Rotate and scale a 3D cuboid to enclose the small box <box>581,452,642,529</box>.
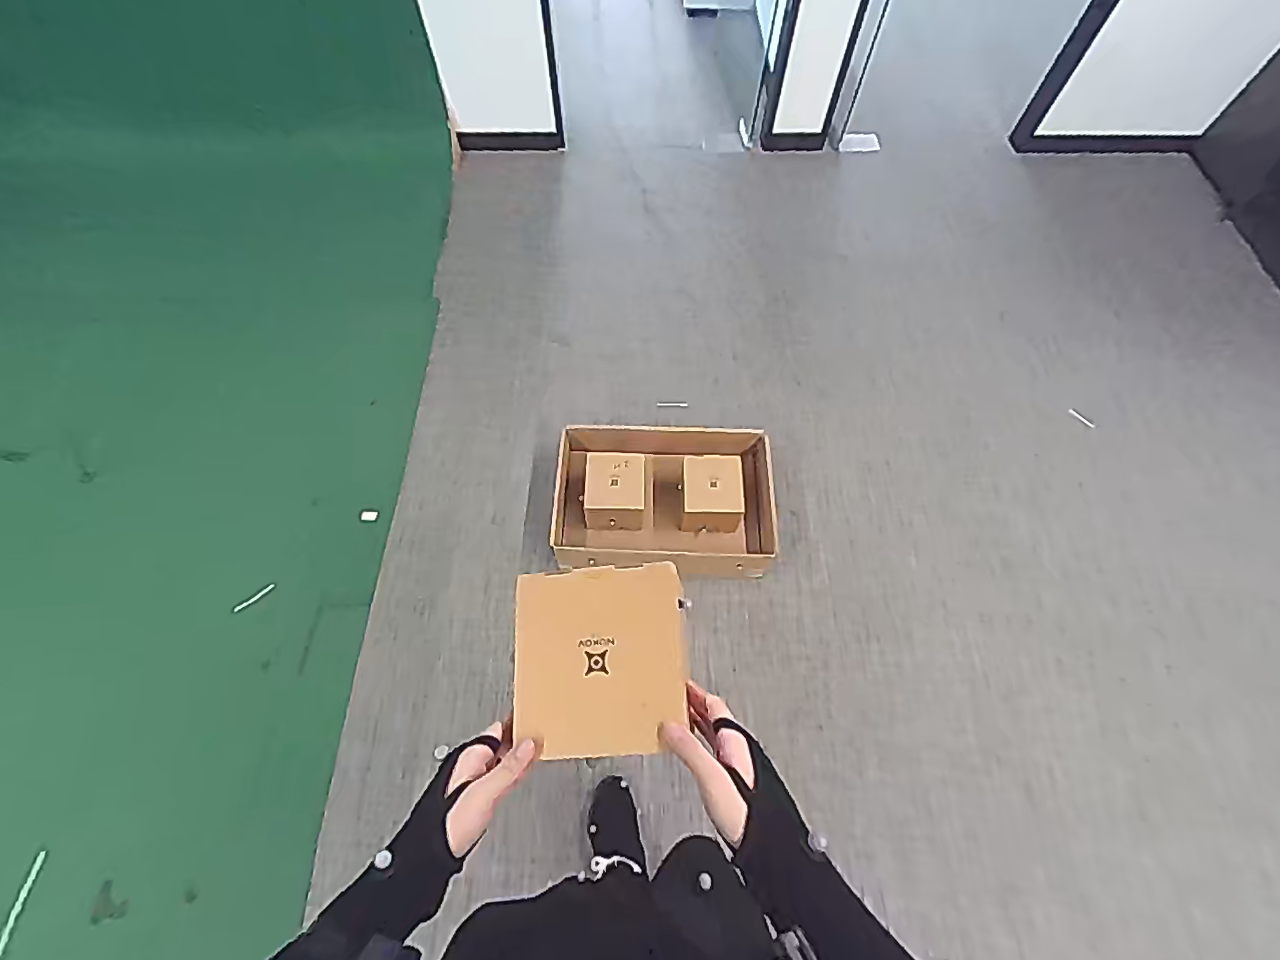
[{"bbox_3d":[-0.079,0.035,1.568,0.168,0.176,0.179,2,63,-1],"label":"small box"}]

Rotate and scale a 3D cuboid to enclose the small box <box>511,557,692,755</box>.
[{"bbox_3d":[-0.034,0.193,0.595,0.168,0.176,0.179,-6,68,5],"label":"small box"}]

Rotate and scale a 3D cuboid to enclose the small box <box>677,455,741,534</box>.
[{"bbox_3d":[0.196,0.043,1.572,0.168,0.176,0.179,1,64,1],"label":"small box"}]
